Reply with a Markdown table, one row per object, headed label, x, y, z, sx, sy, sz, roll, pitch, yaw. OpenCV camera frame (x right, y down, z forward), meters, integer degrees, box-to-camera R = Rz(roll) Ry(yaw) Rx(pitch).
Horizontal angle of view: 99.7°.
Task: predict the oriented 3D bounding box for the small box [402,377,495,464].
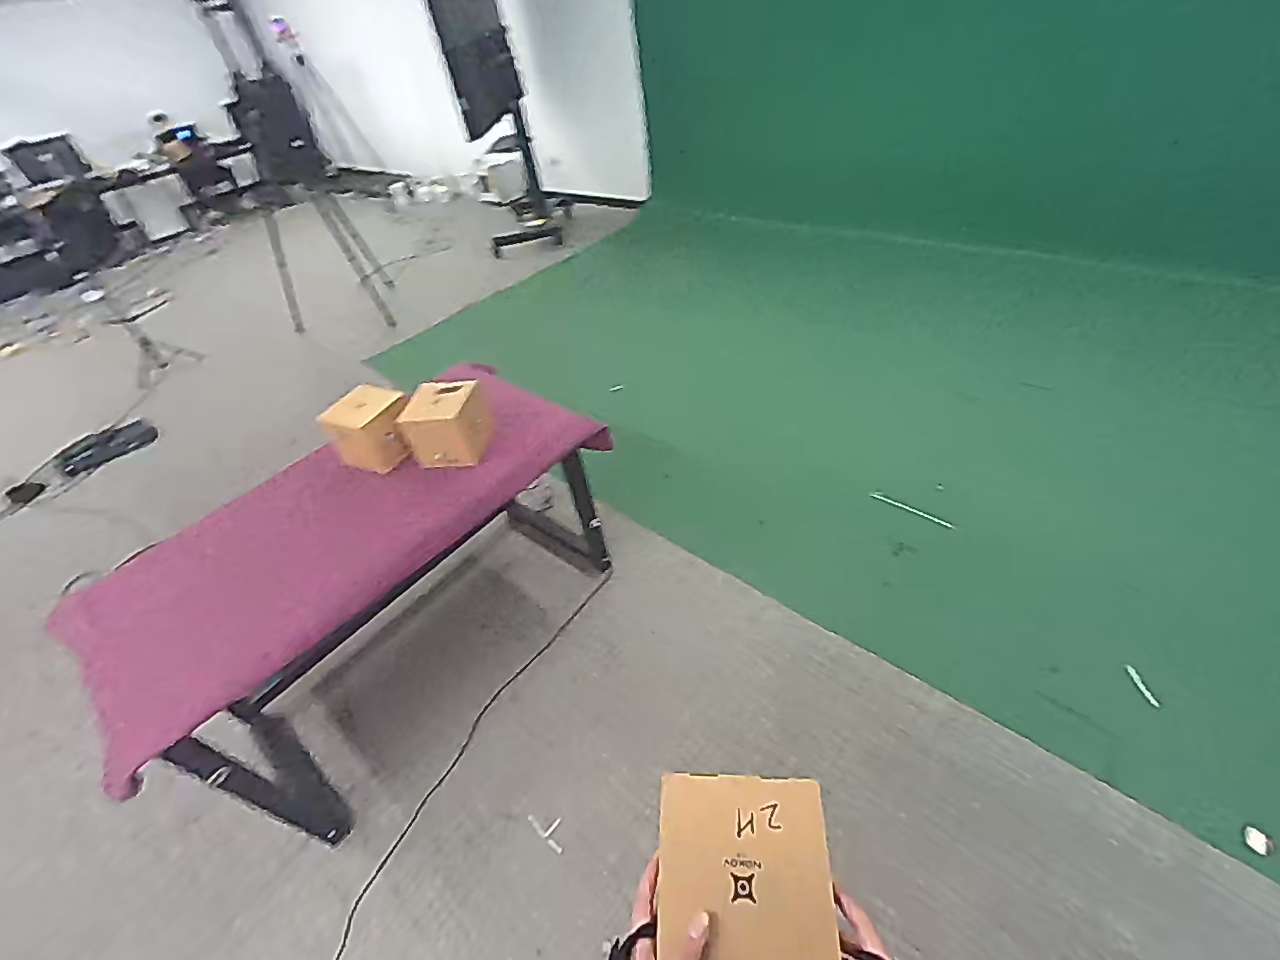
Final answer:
| label | x | y | z | sx | sy | sz | roll | pitch | yaw |
| --- | --- | --- | --- | --- | --- | --- | --- | --- | --- |
| small box | -0.518 | -0.164 | 1.496 | 0.168 | 0.176 | 0.179 | -1 | 45 | 11 |

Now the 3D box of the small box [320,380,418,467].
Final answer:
| label | x | y | z | sx | sy | sz | roll | pitch | yaw |
| --- | --- | --- | --- | --- | --- | --- | --- | --- | --- |
| small box | -0.747 | -0.158 | 1.536 | 0.179 | 0.176 | 0.168 | 13 | 48 | 24 |
